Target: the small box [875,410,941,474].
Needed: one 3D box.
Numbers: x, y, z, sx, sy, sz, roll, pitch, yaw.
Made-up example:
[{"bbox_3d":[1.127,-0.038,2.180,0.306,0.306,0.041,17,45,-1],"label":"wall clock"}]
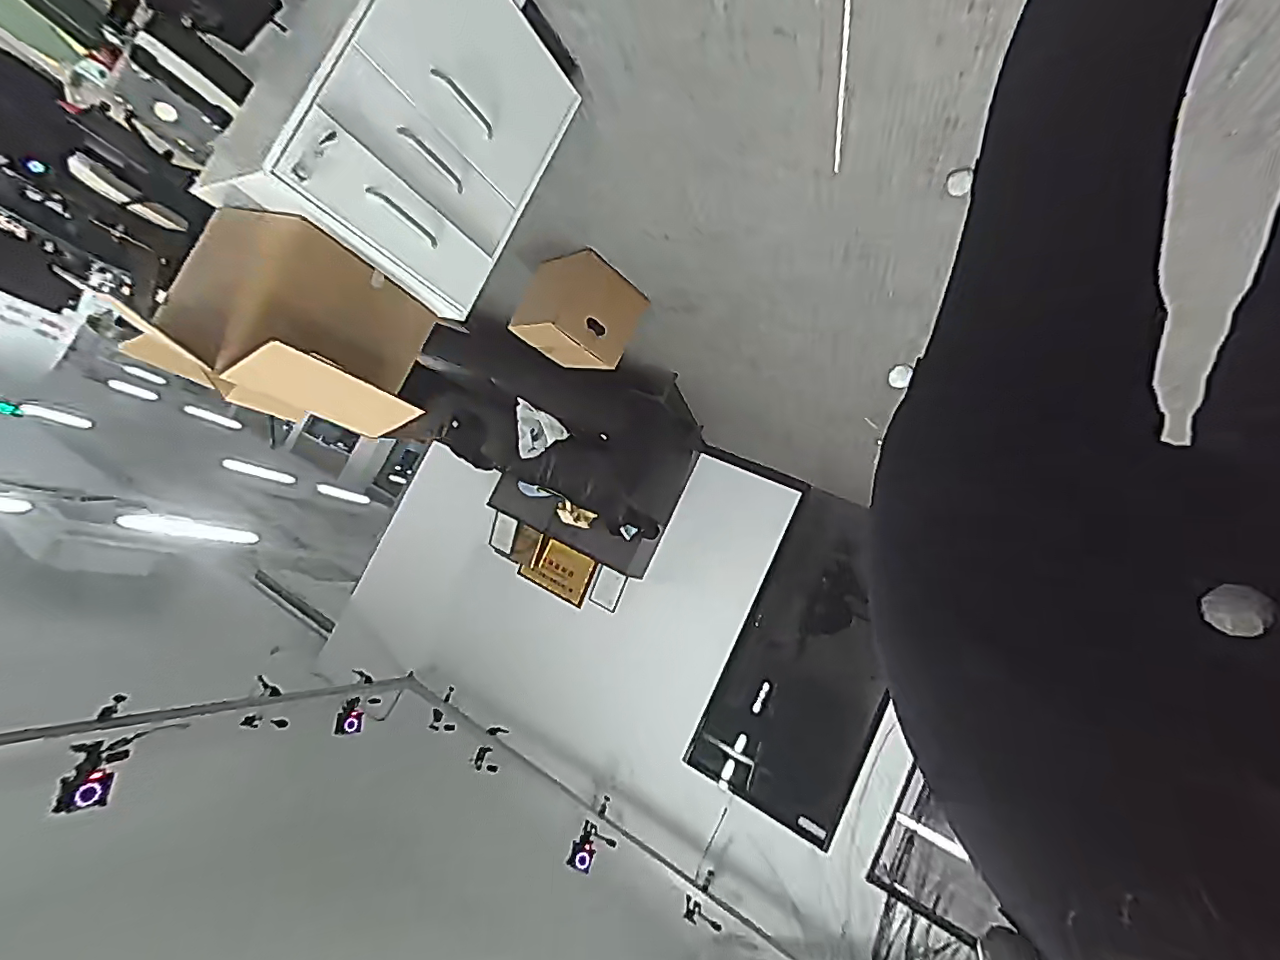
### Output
[{"bbox_3d":[1.030,-0.147,2.080,0.168,0.176,0.179,23,173,20],"label":"small box"}]
